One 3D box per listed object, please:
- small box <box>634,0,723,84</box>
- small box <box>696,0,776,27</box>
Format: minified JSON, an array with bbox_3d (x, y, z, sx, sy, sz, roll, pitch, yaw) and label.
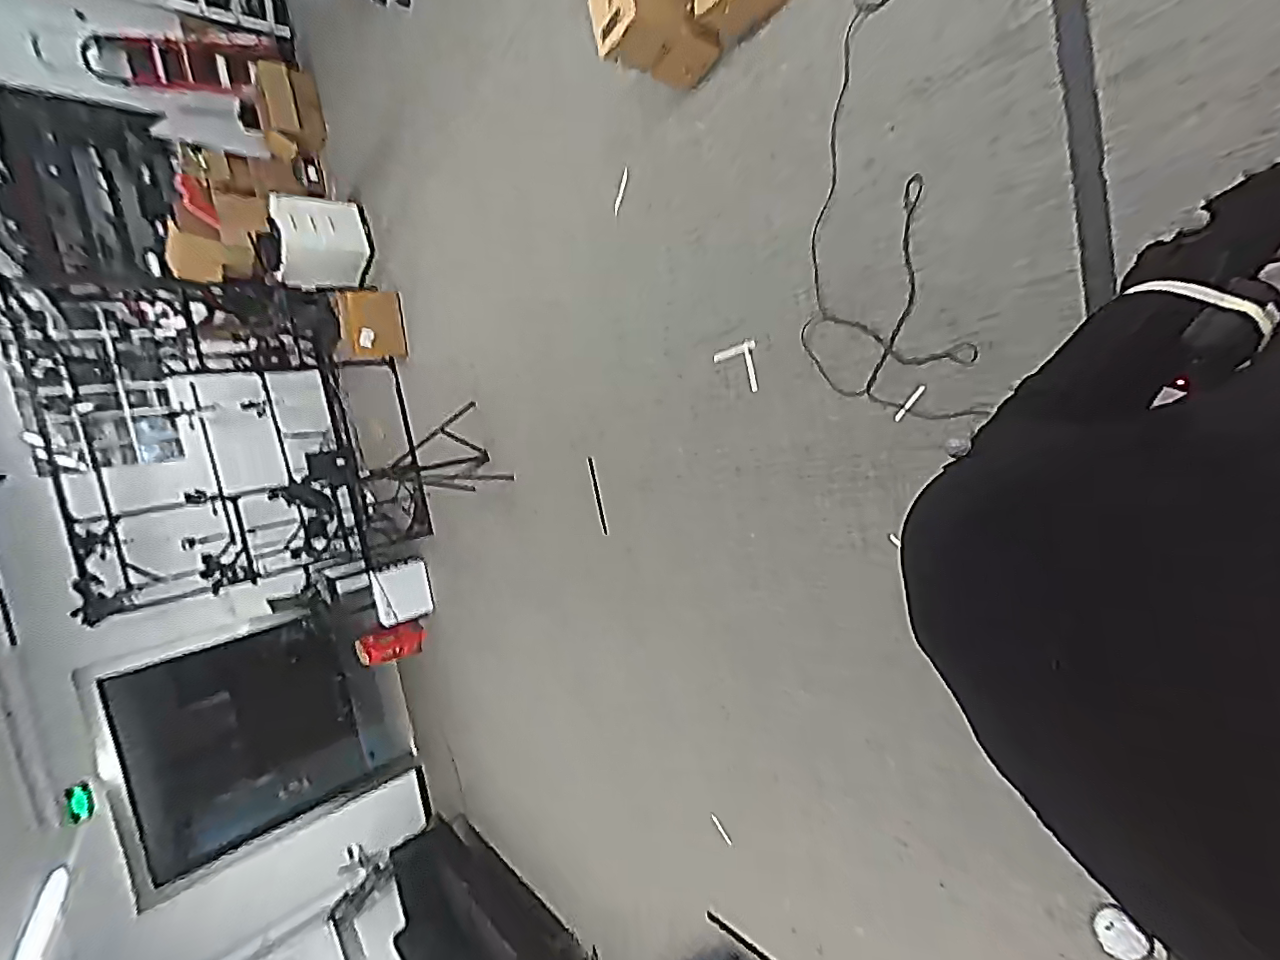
[{"bbox_3d":[0.112,-1.301,1.567,0.168,0.176,0.179,-16,89,52],"label":"small box"},{"bbox_3d":[0.255,-1.315,1.382,0.179,0.176,0.168,3,104,50],"label":"small box"}]
